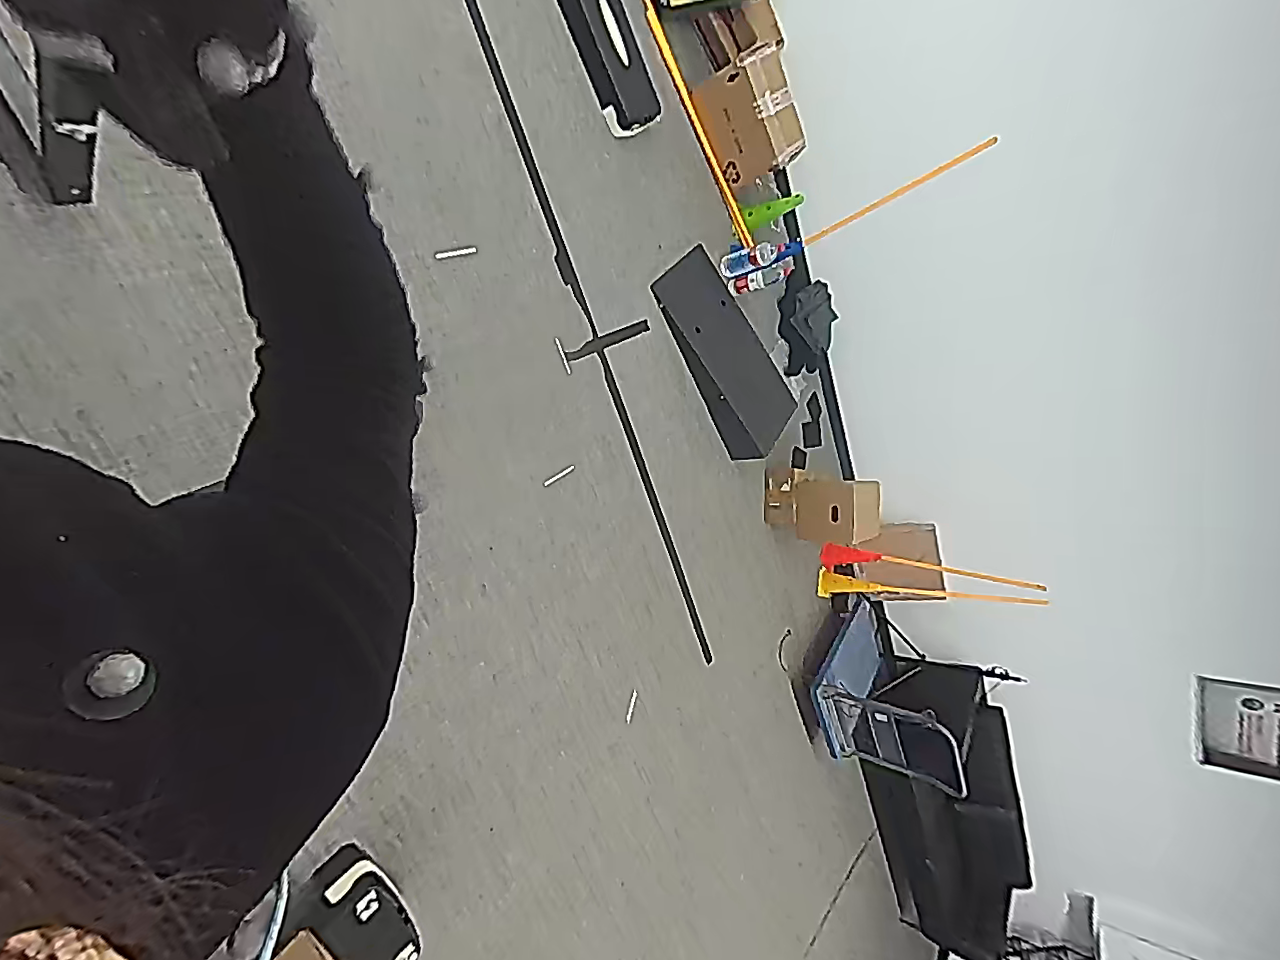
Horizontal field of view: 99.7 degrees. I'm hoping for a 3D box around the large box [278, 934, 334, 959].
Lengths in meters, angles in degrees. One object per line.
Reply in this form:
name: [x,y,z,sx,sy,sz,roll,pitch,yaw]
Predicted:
large box: [-0.674,1.197,0.991,0.408,0.320,0.320,-41,118,-42]
